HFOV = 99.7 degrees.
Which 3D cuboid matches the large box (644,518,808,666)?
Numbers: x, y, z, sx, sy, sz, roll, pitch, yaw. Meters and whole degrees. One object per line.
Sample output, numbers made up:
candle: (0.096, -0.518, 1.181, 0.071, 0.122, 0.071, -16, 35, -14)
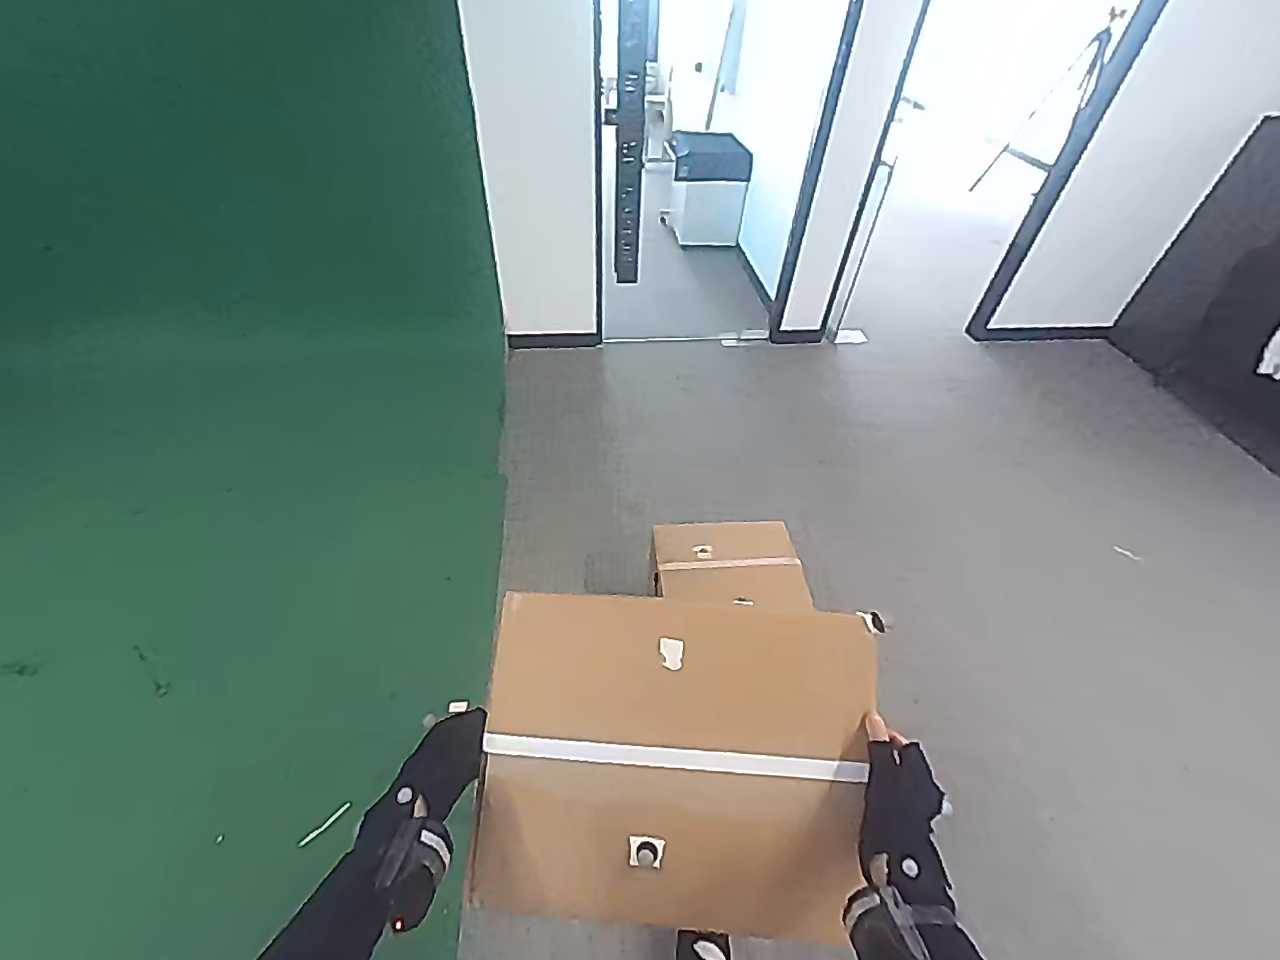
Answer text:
large box: (0.231, 0.336, 1.621, 0.408, 0.320, 0.320, -2, 46, -5)
